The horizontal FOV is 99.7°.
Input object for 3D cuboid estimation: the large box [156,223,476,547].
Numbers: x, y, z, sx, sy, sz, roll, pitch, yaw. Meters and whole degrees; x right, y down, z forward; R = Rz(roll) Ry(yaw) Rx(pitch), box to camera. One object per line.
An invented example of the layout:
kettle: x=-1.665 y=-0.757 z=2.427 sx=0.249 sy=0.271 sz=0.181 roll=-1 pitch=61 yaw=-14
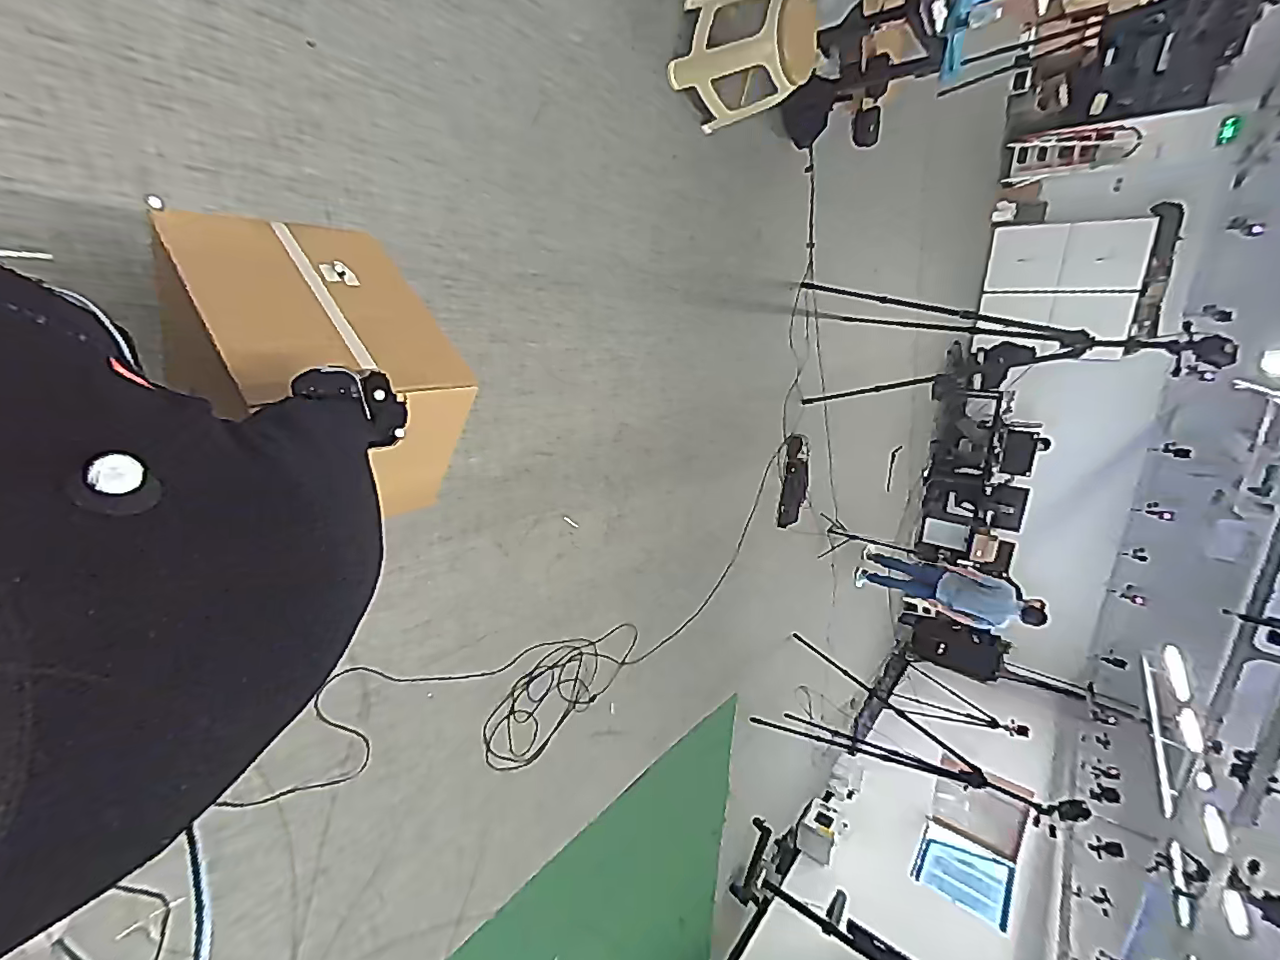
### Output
large box: x=-0.545 y=-0.163 z=0.915 sx=0.320 sy=0.408 sz=0.320 roll=-17 pitch=151 yaw=-47
